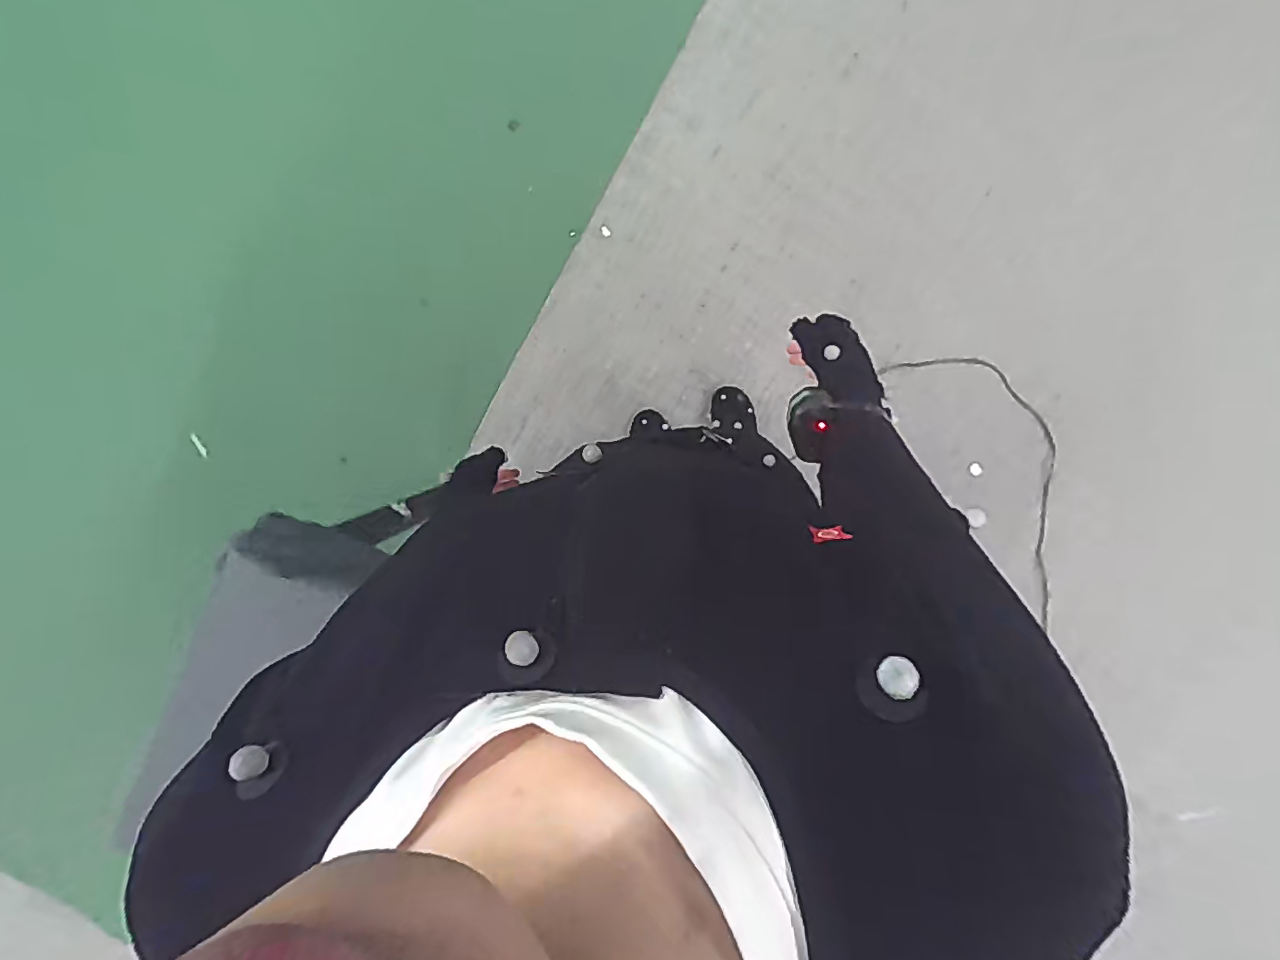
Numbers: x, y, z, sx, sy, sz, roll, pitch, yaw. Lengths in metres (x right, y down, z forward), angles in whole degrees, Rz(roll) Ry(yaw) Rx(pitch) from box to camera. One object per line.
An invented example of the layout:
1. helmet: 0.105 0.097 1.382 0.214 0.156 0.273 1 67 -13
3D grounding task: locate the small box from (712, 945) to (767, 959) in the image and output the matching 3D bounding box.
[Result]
1. small box: 0.166 0.826 0.766 0.179 0.176 0.168 27 101 2
